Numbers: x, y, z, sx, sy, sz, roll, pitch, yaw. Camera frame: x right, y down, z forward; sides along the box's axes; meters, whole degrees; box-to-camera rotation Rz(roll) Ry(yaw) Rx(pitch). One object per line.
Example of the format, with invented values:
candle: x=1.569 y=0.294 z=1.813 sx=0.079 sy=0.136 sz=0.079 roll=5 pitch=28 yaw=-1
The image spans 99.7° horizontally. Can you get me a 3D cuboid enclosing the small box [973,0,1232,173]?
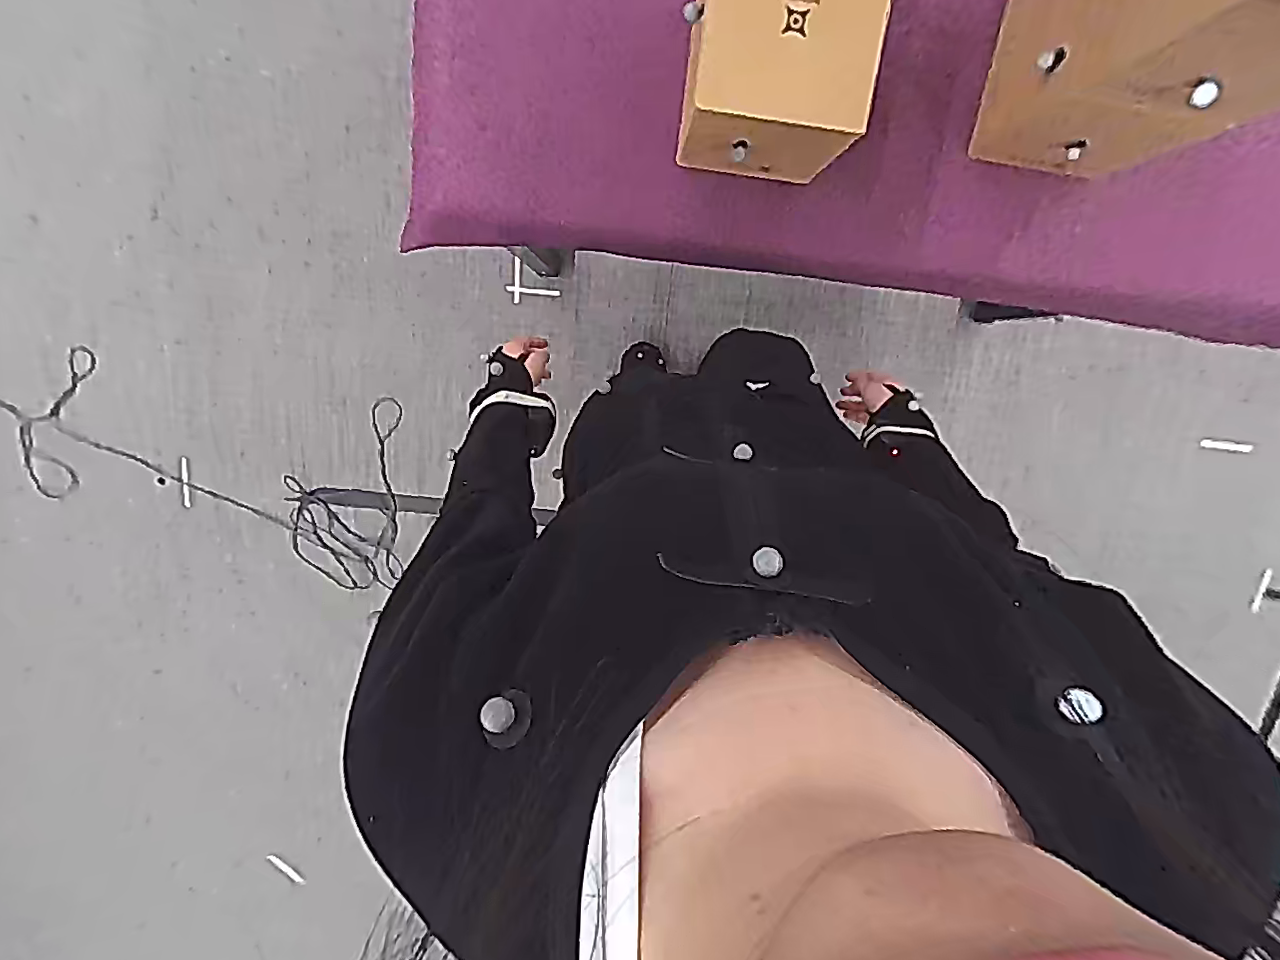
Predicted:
small box: x=0.492 y=-0.450 z=0.569 sx=0.168 sy=0.176 sz=0.179 roll=8 pitch=103 yaw=-4

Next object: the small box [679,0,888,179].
small box: x=0.137 y=-0.437 z=0.562 sx=0.168 sy=0.176 sz=0.179 roll=7 pitch=102 yaw=-3
